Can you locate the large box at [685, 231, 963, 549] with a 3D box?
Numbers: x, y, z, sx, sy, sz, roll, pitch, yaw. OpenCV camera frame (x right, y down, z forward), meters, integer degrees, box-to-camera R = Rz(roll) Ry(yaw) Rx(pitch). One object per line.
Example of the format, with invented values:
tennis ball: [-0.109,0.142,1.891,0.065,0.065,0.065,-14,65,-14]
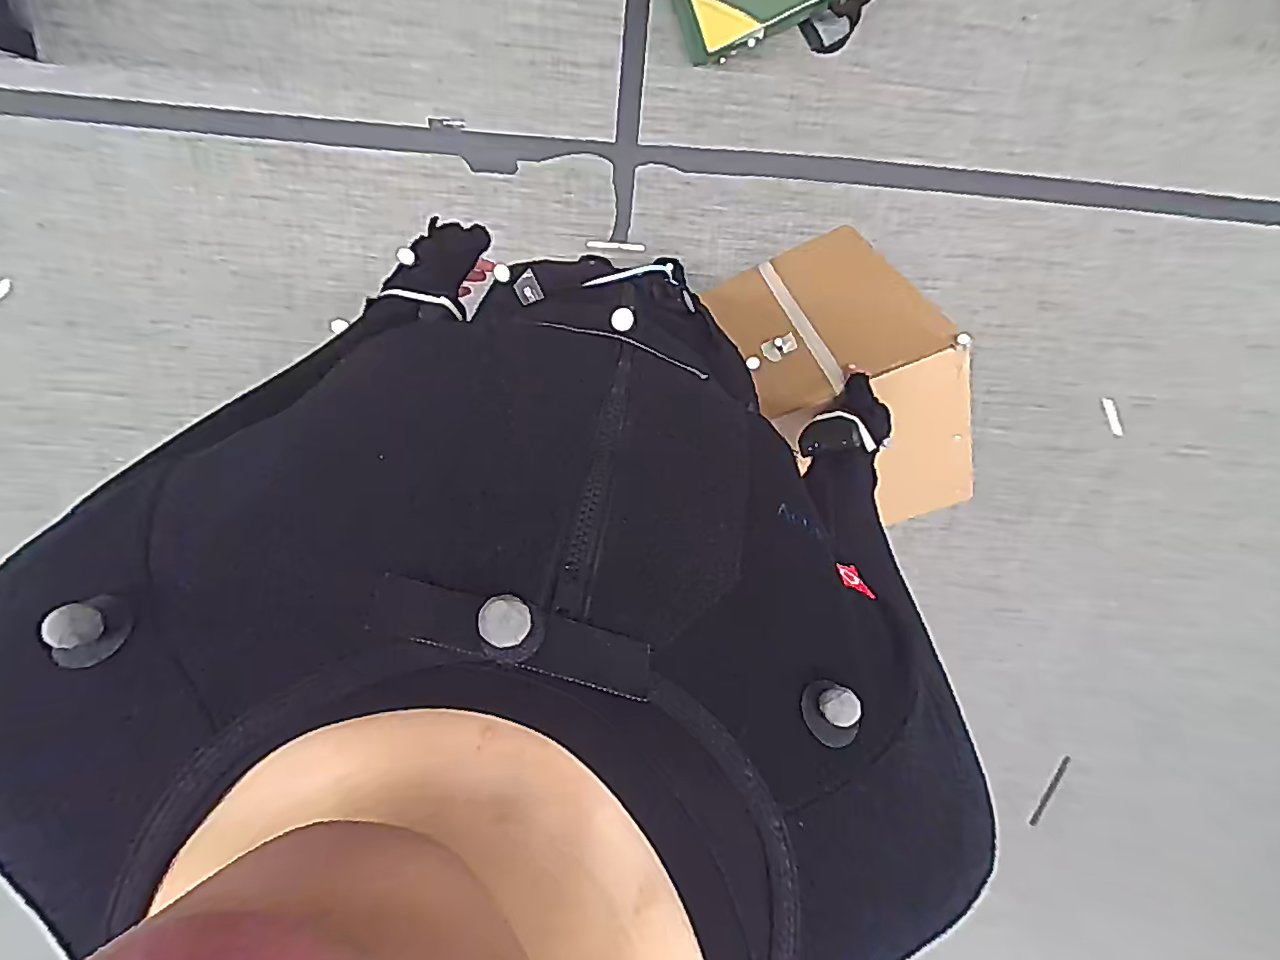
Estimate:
large box: [0.303,-0.158,0.944,0.320,0.408,0.320,-22,133,14]
